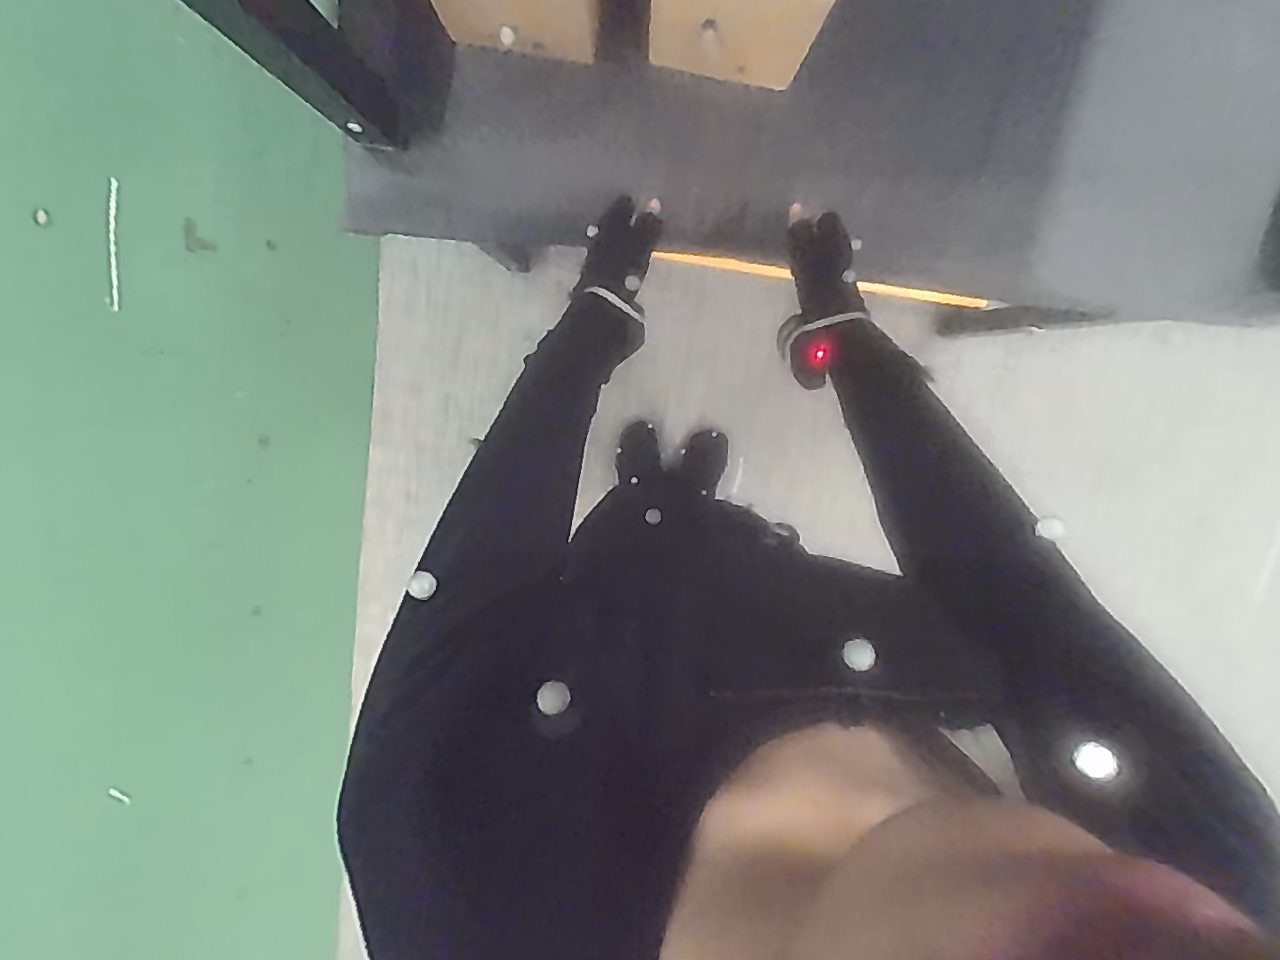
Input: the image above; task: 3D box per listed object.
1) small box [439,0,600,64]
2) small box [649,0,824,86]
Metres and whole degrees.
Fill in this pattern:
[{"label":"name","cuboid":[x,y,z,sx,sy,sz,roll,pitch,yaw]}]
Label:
[{"label":"small box","cuboid":[-0.123,-0.564,0.533,0.168,0.176,0.179,8,101,-2]},{"label":"small box","cuboid":[0.103,-0.540,0.542,0.168,0.176,0.179,9,101,-2]}]
